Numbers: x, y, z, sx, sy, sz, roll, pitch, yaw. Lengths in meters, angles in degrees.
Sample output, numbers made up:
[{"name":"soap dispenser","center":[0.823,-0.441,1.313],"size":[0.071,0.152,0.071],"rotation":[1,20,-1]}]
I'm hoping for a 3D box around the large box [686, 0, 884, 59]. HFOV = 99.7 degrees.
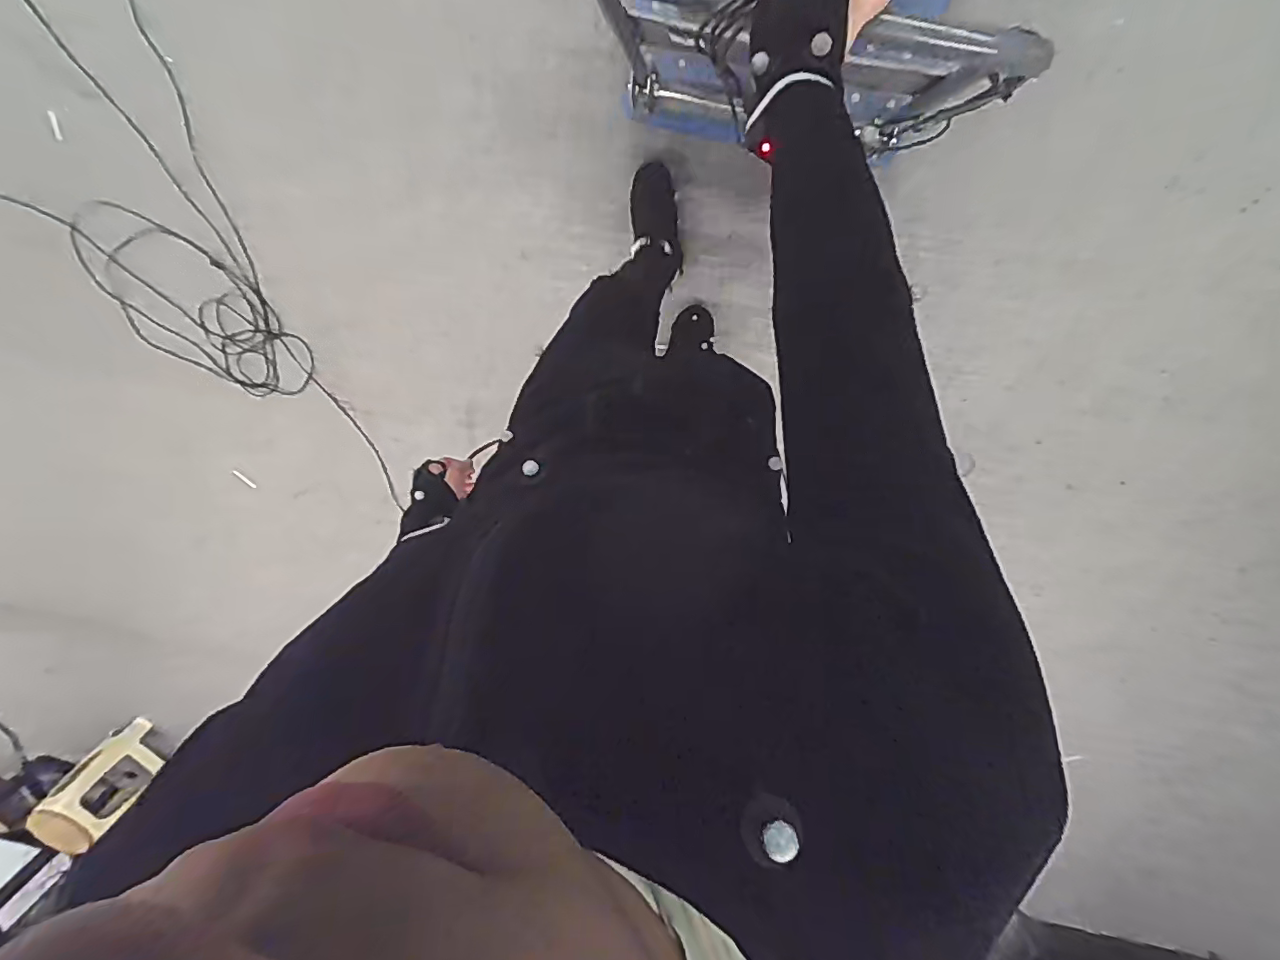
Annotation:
[{"name":"large box","center":[0.259,-0.941,0.812],"size":[0.320,0.320,0.408],"rotation":[15,117,1]}]
